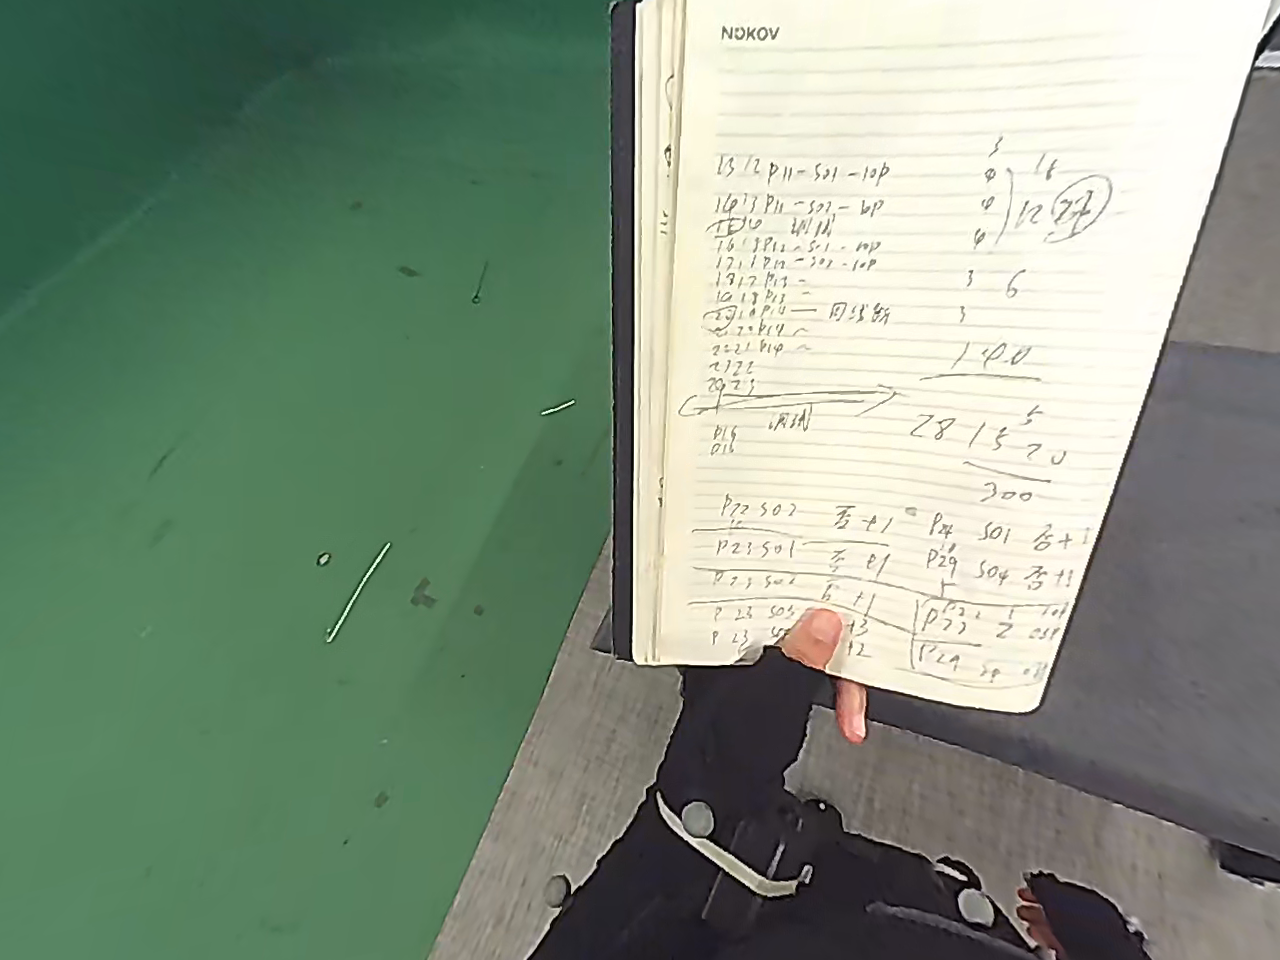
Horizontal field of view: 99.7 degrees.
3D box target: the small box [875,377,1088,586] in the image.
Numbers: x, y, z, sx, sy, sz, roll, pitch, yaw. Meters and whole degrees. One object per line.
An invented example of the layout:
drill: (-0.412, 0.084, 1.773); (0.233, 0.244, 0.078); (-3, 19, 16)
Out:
small box: (0.390, 0.006, 0.647); (0.168, 0.176, 0.179); (10, 64, 15)
